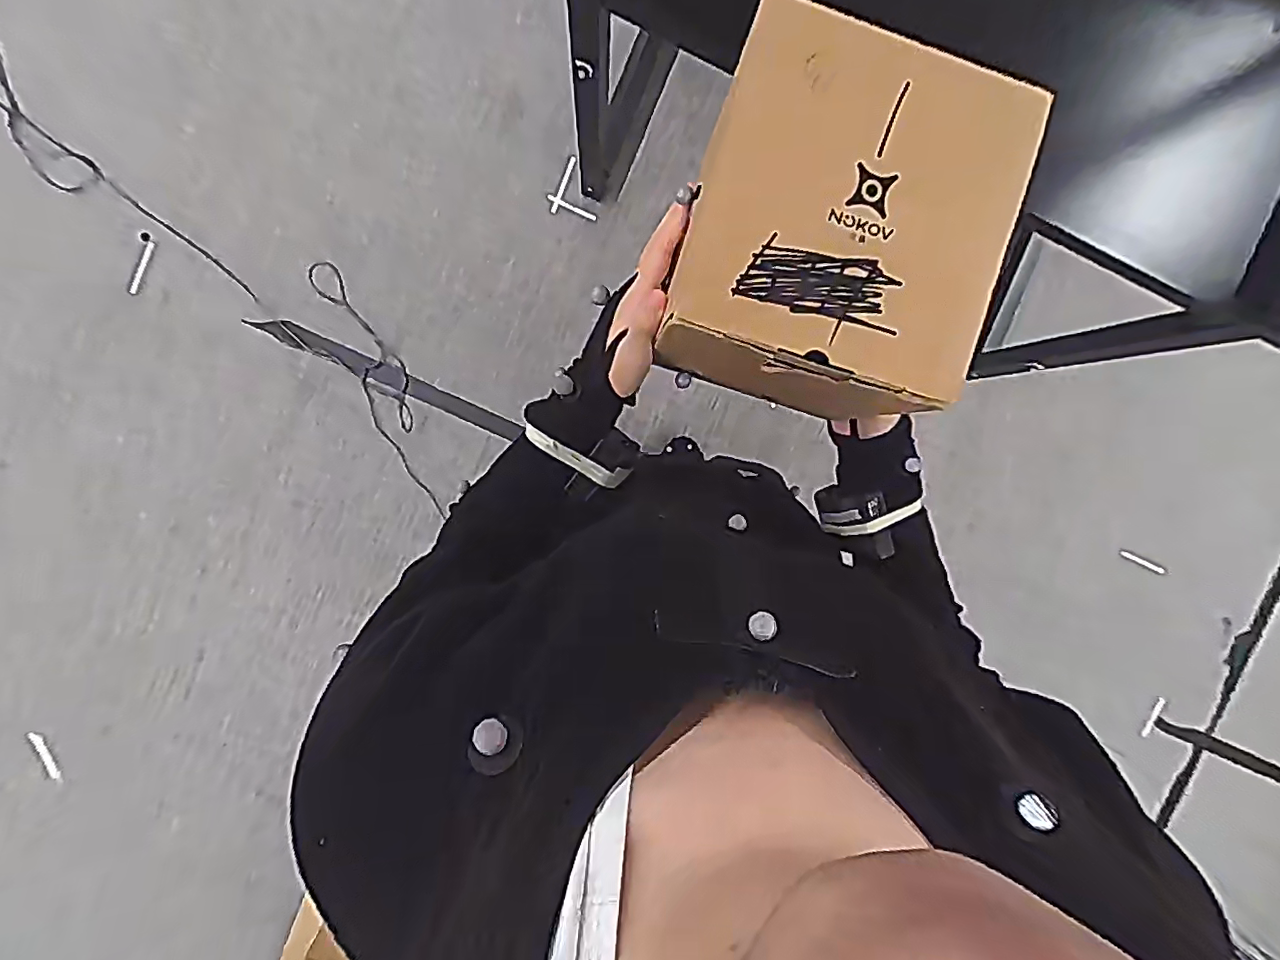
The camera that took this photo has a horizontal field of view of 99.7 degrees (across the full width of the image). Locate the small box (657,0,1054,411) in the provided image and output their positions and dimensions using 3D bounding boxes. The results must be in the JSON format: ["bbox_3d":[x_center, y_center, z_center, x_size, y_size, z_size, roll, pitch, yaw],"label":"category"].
[{"bbox_3d":[0.113,-0.152,0.364,0.168,0.176,0.179,16,92,-5],"label":"small box"}]

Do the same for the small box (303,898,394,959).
[{"bbox_3d":[-0.721,1.171,1.297,0.168,0.176,0.179,26,92,-6],"label":"small box"}]
